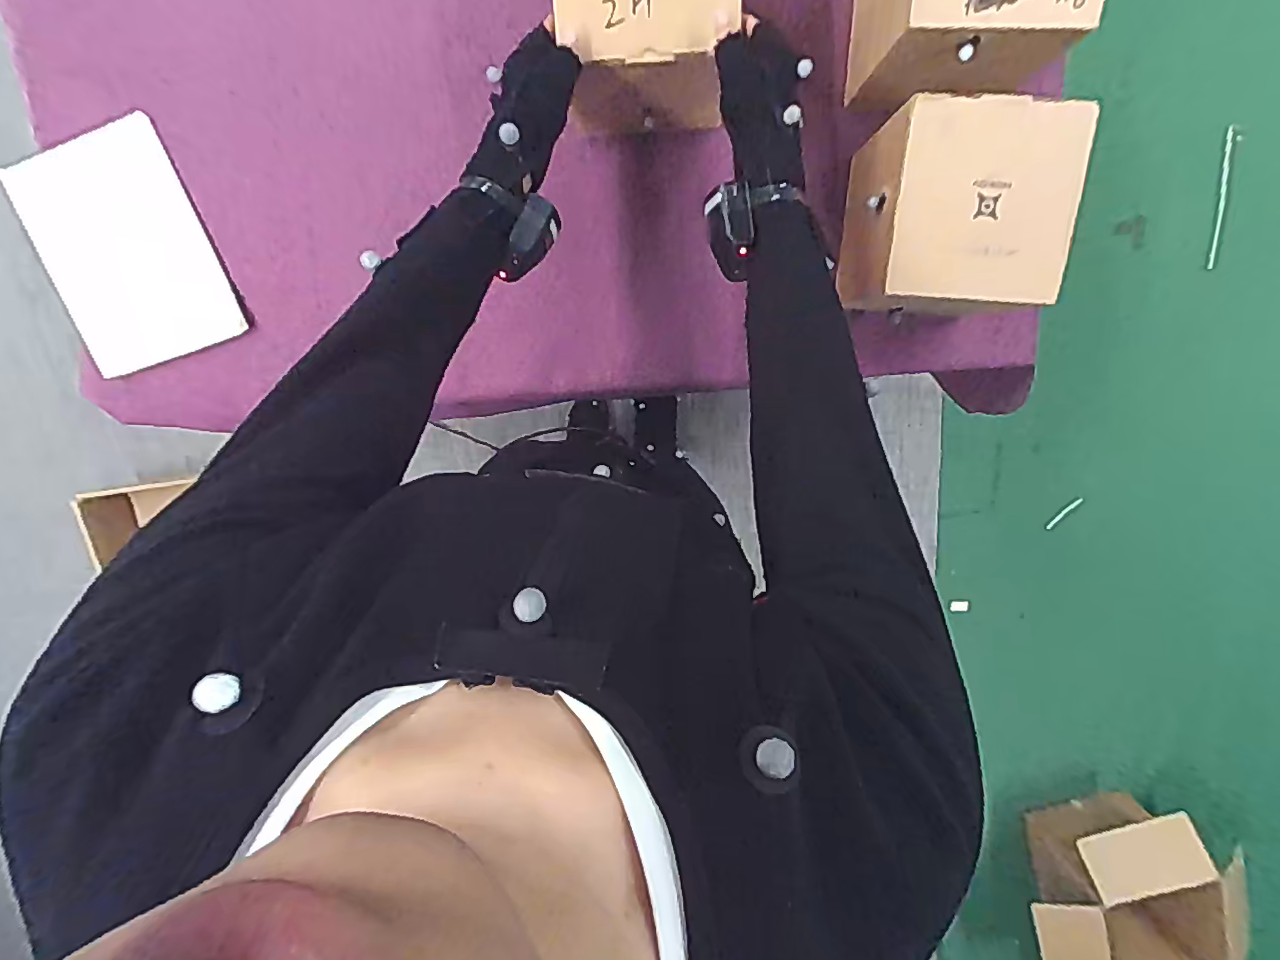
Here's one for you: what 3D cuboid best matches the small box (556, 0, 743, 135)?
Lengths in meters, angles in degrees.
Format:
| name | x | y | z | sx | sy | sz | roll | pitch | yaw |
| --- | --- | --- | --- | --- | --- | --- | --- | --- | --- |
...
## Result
| name | x | y | z | sx | sy | sz | roll | pitch | yaw |
| --- | --- | --- | --- | --- | --- | --- | --- | --- | --- |
| small box | 0.006 | -0.473 | 0.536 | 0.168 | 0.176 | 0.179 | -3 | 105 | 2 |

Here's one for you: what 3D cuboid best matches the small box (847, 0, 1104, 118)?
| name | x | y | z | sx | sy | sz | roll | pitch | yaw |
| --- | --- | --- | --- | --- | --- | --- | --- | --- | --- |
| small box | 0.318 | -0.490 | 0.528 | 0.168 | 0.176 | 0.179 | 2 | 103 | 1 |
